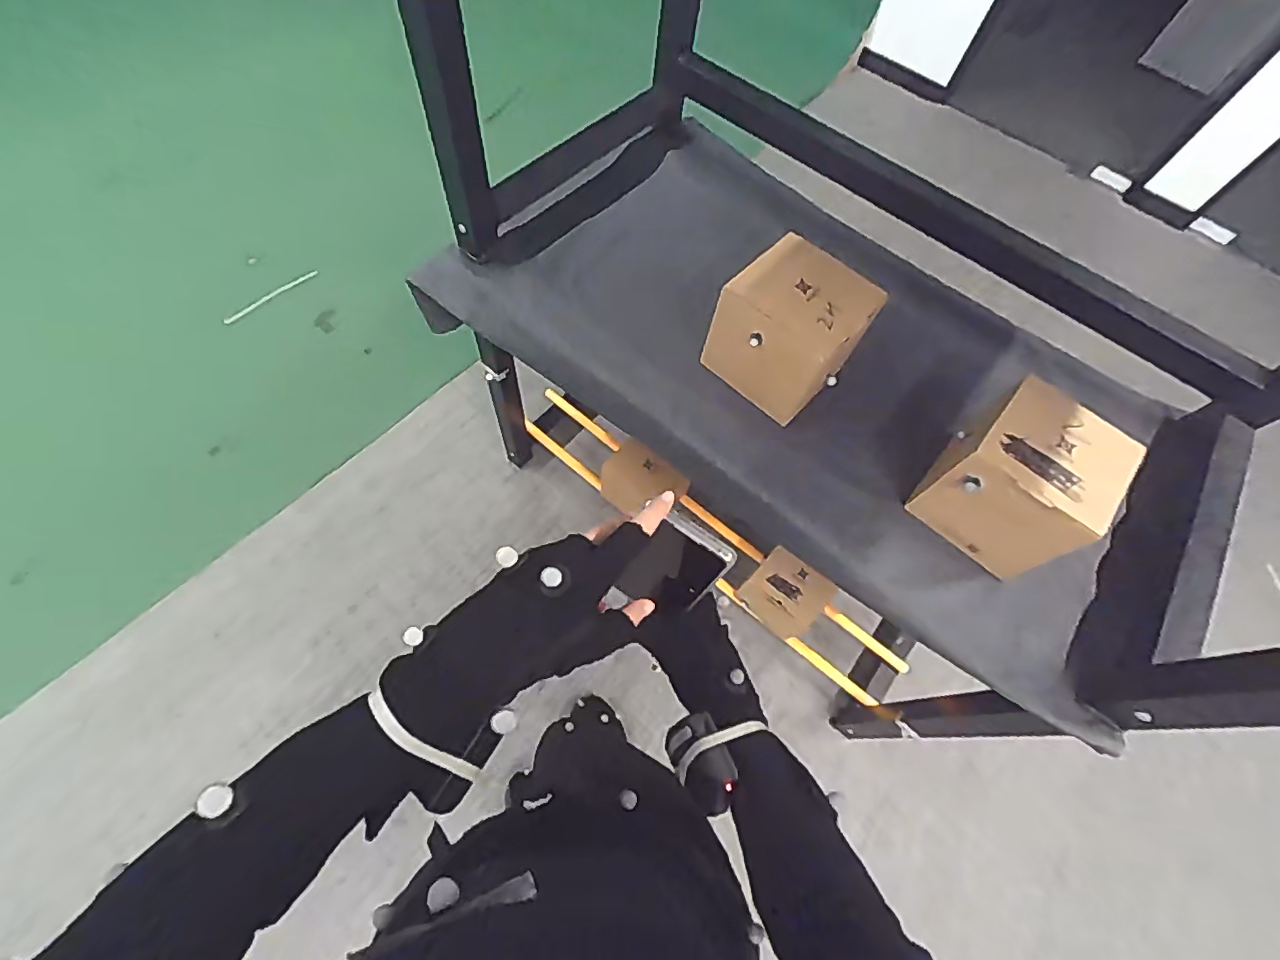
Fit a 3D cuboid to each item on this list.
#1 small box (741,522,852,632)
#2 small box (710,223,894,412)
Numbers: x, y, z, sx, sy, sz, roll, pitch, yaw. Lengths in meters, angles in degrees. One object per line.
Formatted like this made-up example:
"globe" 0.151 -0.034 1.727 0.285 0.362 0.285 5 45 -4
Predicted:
"small box" 0.361 0.238 1.287 0.168 0.176 0.179 42 68 13
"small box" 0.227 -0.235 0.807 0.179 0.176 0.168 41 67 13
